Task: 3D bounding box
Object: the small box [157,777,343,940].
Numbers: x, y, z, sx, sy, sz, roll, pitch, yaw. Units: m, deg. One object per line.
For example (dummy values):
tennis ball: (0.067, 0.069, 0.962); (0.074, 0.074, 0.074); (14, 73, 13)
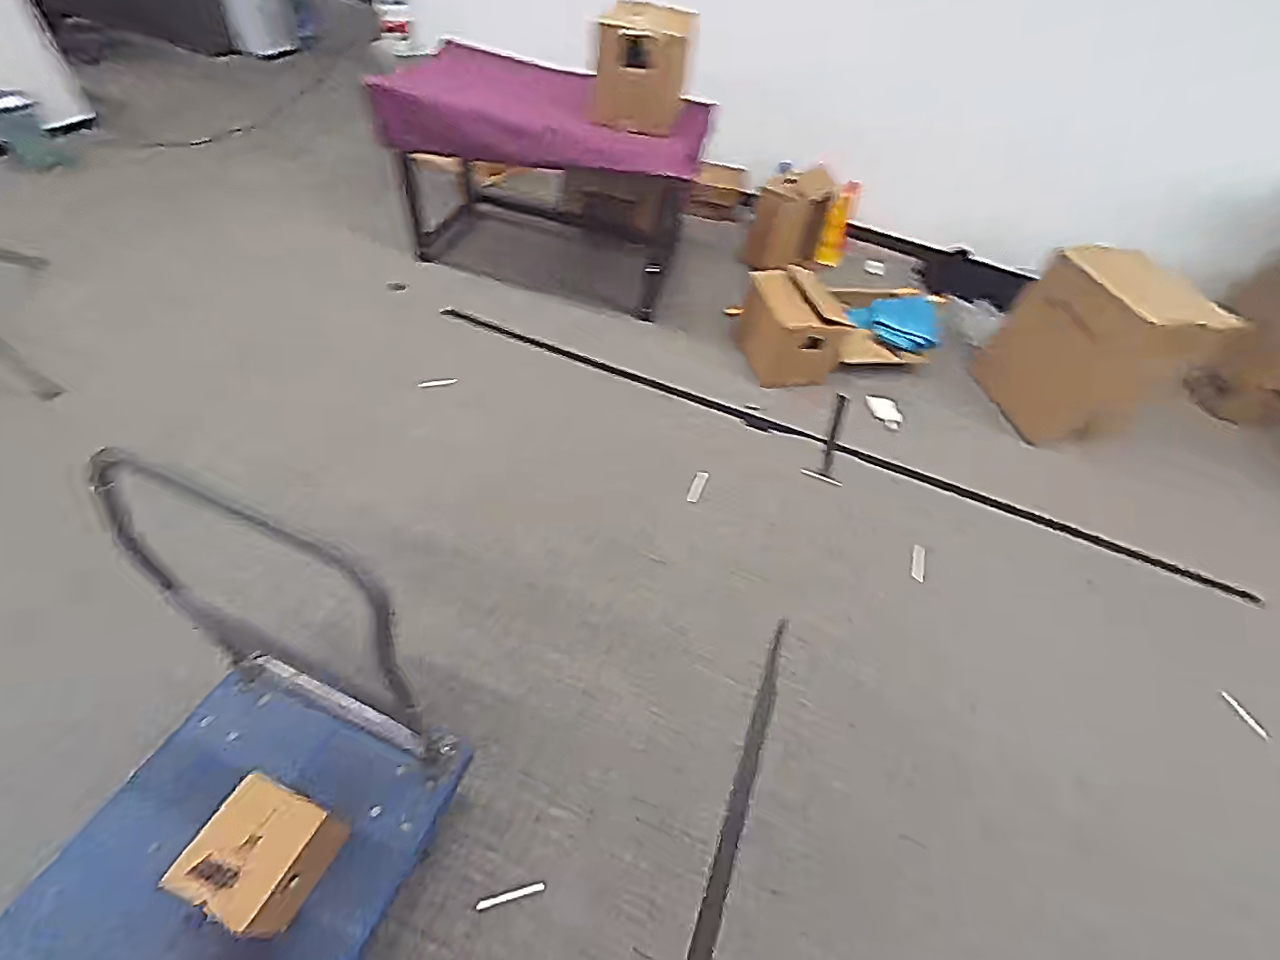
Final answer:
small box: (-0.663, 0.663, 0.947); (0.168, 0.176, 0.179); (22, 50, 10)
